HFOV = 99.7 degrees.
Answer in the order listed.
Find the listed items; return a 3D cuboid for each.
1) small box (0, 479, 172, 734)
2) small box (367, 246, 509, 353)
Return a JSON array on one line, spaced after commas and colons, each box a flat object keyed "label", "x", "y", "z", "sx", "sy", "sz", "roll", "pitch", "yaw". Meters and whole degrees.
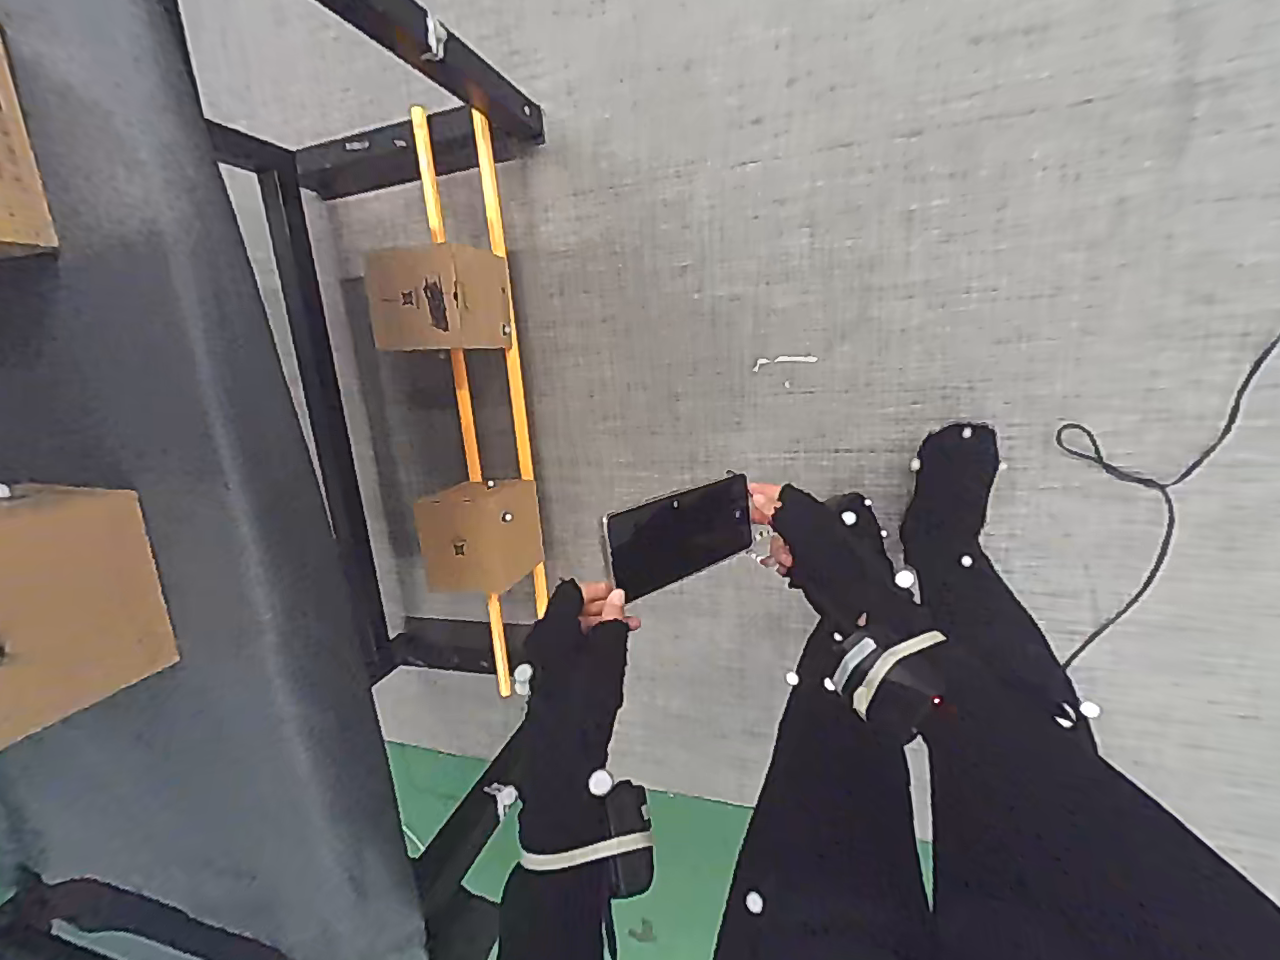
[{"label": "small box", "x": -0.555, "y": 0.106, "z": 0.464, "sx": 0.168, "sy": 0.176, "sz": 0.179, "roll": 3, "pitch": 104, "yaw": 17}, {"label": "small box", "x": -0.347, "y": -0.314, "z": 0.967, "sx": 0.179, "sy": 0.176, "sz": 0.168, "roll": 3, "pitch": 104, "yaw": 17}]
